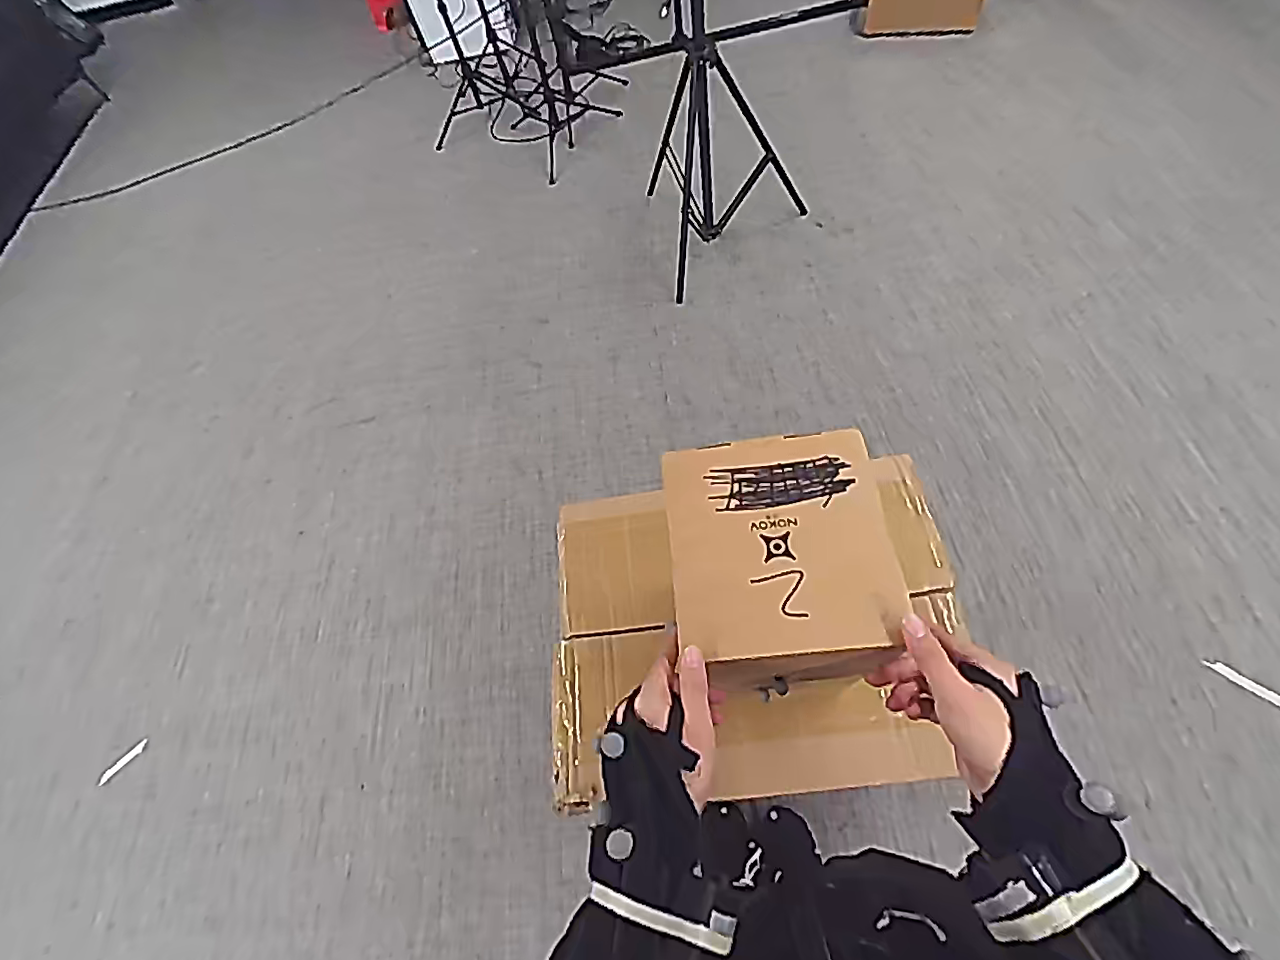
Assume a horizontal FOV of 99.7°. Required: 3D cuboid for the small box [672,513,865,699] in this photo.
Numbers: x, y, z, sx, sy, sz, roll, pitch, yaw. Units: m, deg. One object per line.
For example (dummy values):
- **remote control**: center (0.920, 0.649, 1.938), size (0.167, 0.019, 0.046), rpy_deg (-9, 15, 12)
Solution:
- **small box**: center (0.138, 0.154, 0.627), size (0.179, 0.176, 0.168), rpy_deg (-7, 62, 6)
